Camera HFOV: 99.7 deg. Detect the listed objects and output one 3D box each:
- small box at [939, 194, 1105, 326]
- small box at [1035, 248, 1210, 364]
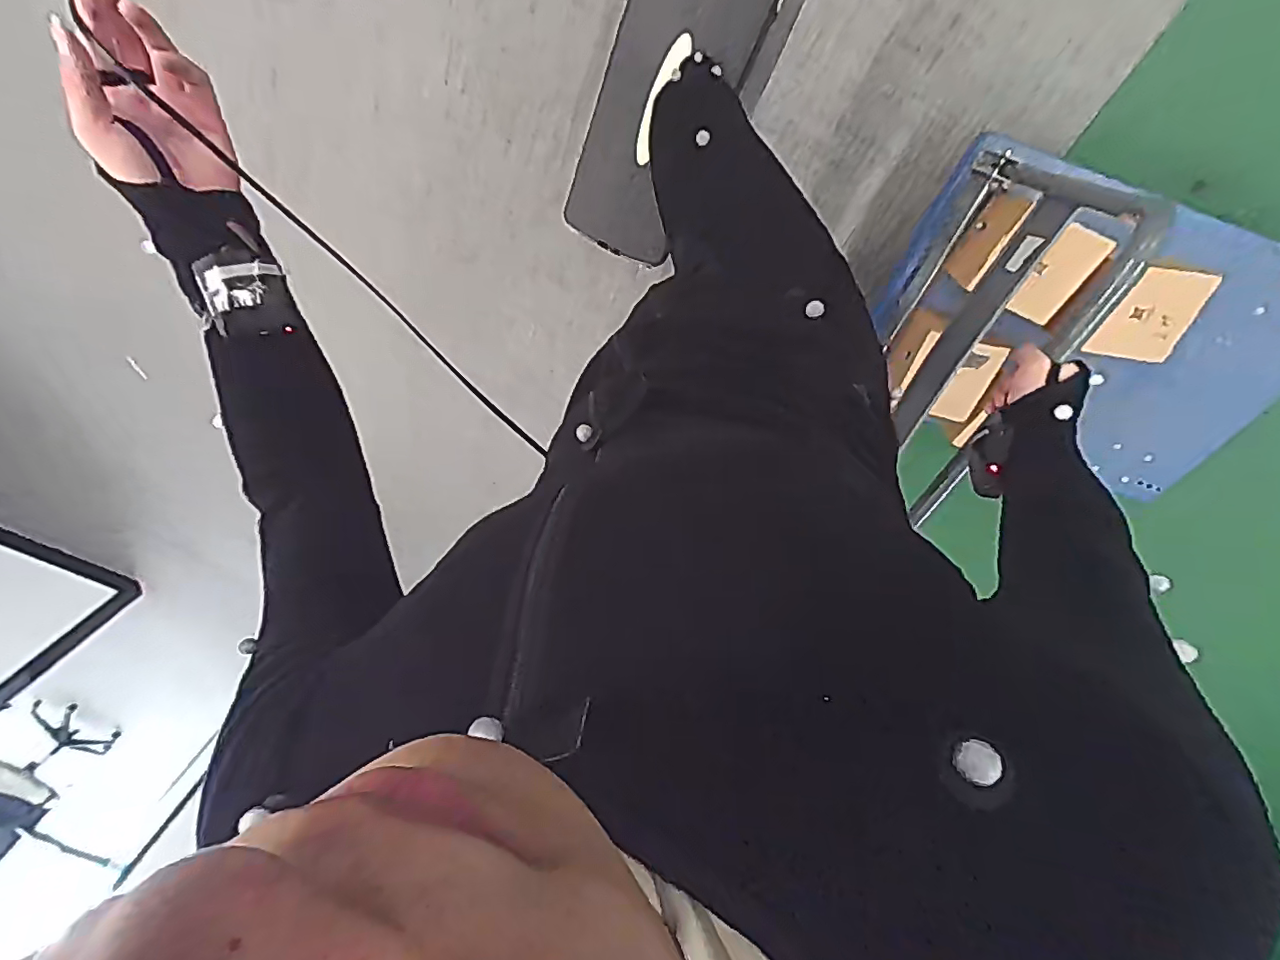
[{"bbox_3d":[0.727,-0.434,1.053,0.179,0.176,0.168,24,127,-4],"label":"small box"},{"bbox_3d":[0.924,-0.350,1.066,0.179,0.176,0.168,11,127,5],"label":"small box"}]
